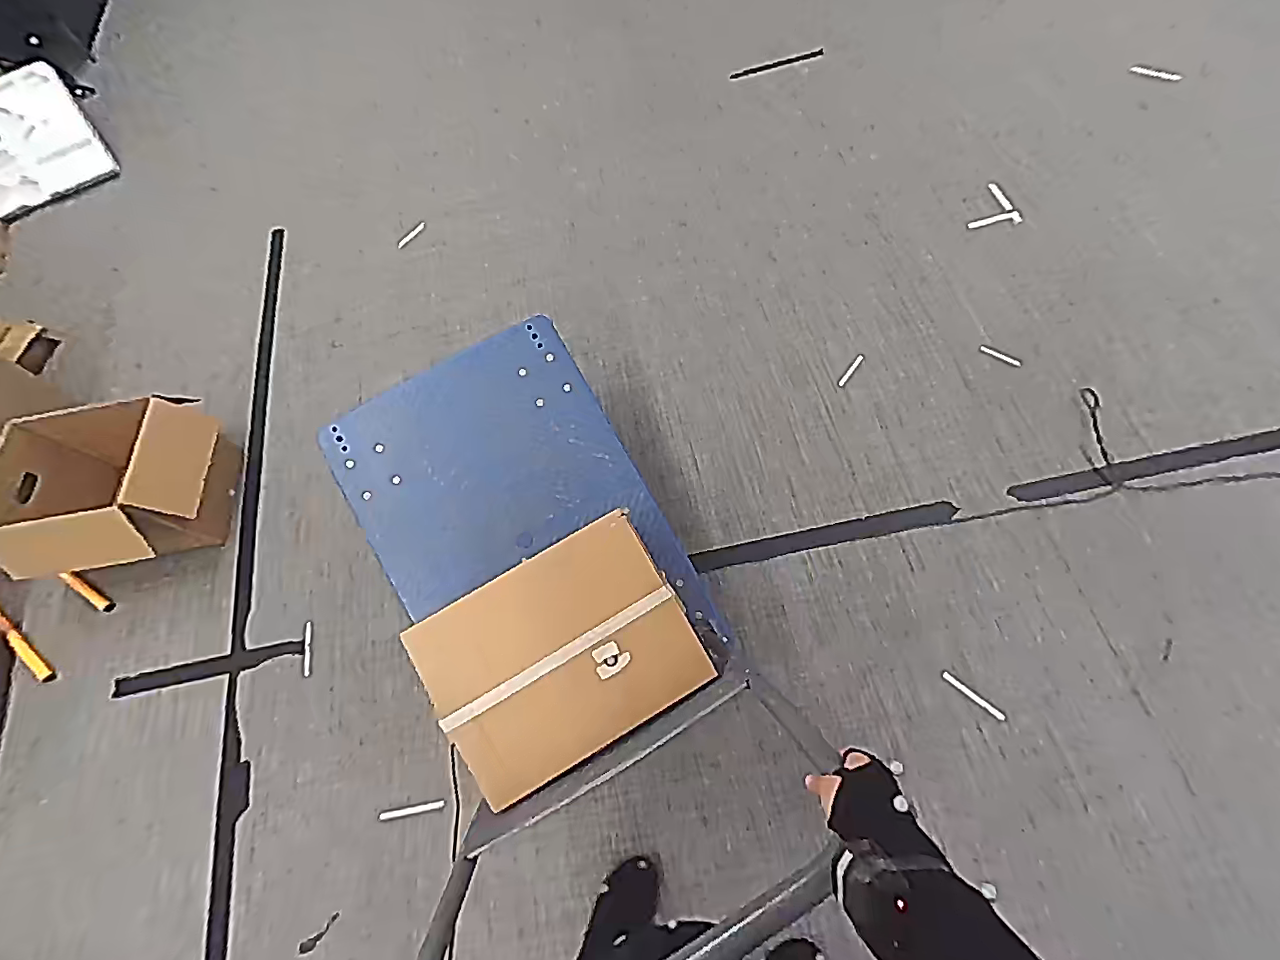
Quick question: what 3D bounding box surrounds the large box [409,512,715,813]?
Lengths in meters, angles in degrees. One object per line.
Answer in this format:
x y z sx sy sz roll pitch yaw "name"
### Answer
-0.131 0.304 1.007 0.408 0.320 0.320 -30 86 -7 "large box"
